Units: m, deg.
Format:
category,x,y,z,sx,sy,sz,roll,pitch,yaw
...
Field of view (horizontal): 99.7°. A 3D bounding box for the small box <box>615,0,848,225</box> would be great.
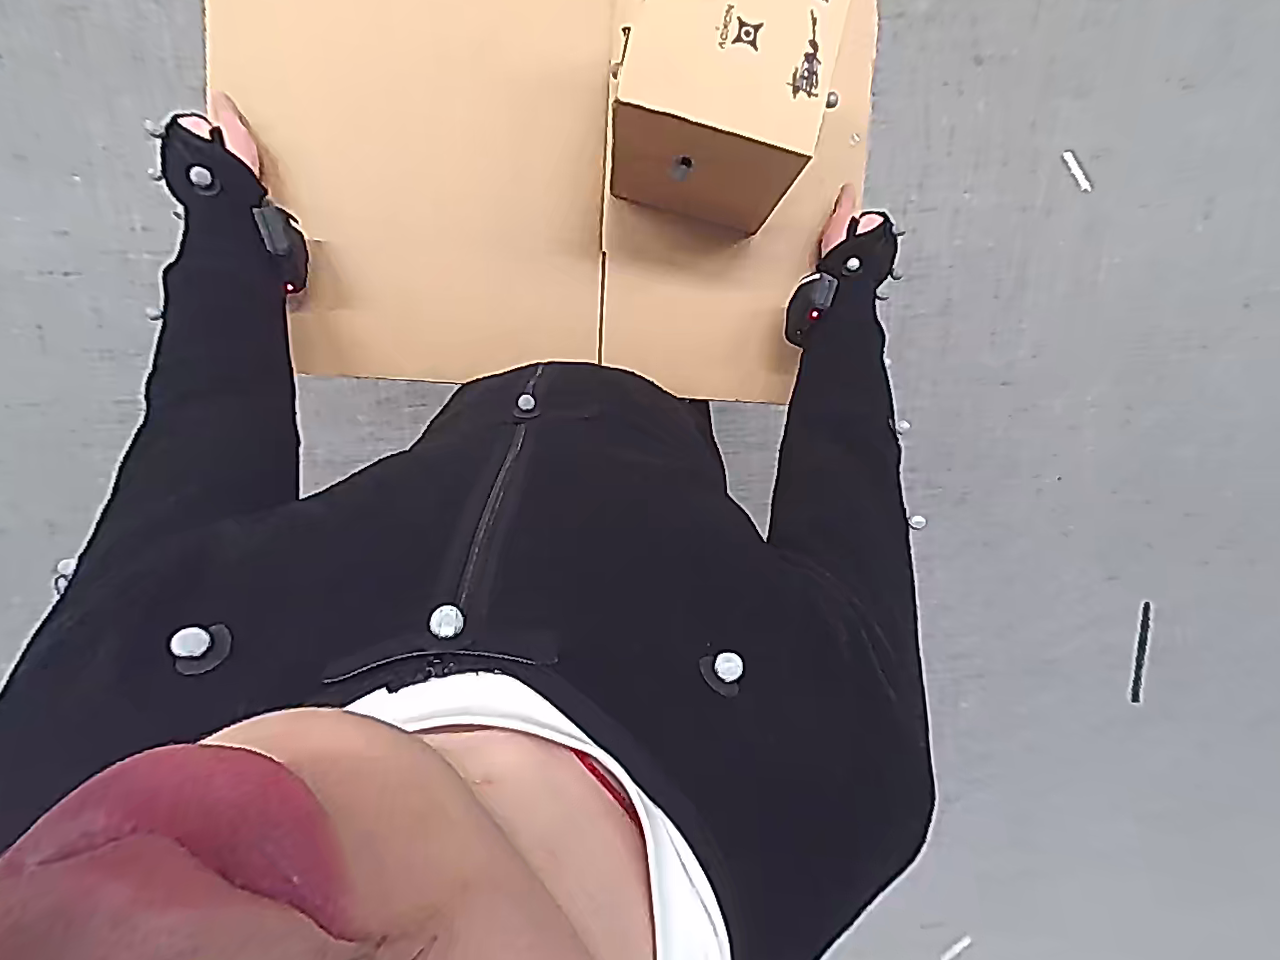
category,x,y,z,sx,sy,sz,roll,pitch,yaw
small box,0.077,-0.379,0.535,0.179,0.176,0.168,13,93,-4
